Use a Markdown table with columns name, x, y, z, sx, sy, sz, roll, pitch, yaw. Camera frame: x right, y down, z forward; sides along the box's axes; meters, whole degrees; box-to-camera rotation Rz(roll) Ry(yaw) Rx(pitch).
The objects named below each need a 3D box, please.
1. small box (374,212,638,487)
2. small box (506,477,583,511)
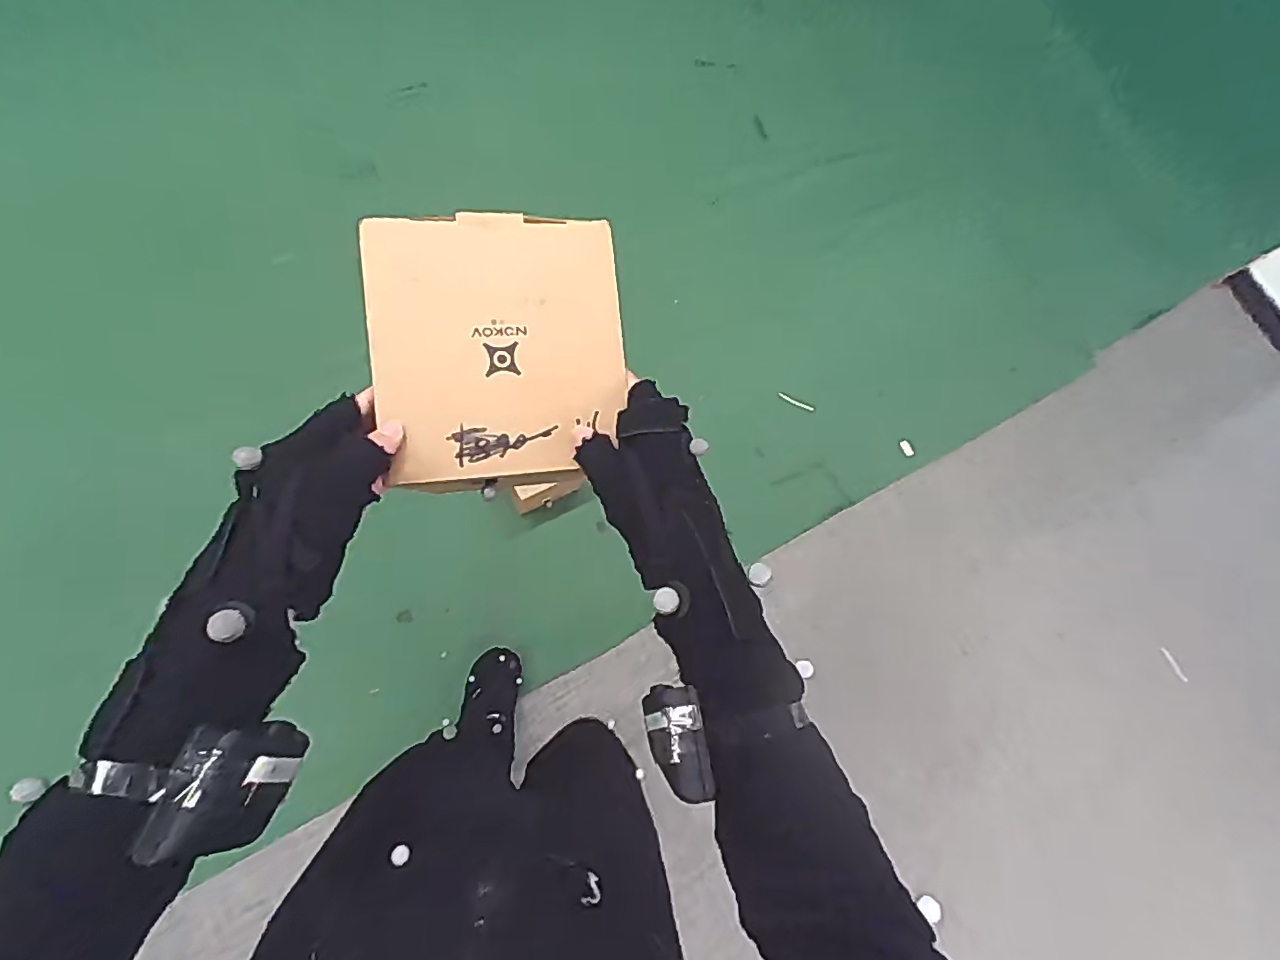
| name | x | y | z | sx | sy | sz | roll | pitch | yaw |
| --- | --- | --- | --- | --- | --- | --- | --- | --- | --- |
| small box | -0.105 | -0.090 | 0.443 | 0.168 | 0.176 | 0.179 | -5 | 89 | -12 |
| small box | -0.244 | -0.046 | 1.275 | 0.168 | 0.176 | 0.179 | -24 | 81 | -16 |
